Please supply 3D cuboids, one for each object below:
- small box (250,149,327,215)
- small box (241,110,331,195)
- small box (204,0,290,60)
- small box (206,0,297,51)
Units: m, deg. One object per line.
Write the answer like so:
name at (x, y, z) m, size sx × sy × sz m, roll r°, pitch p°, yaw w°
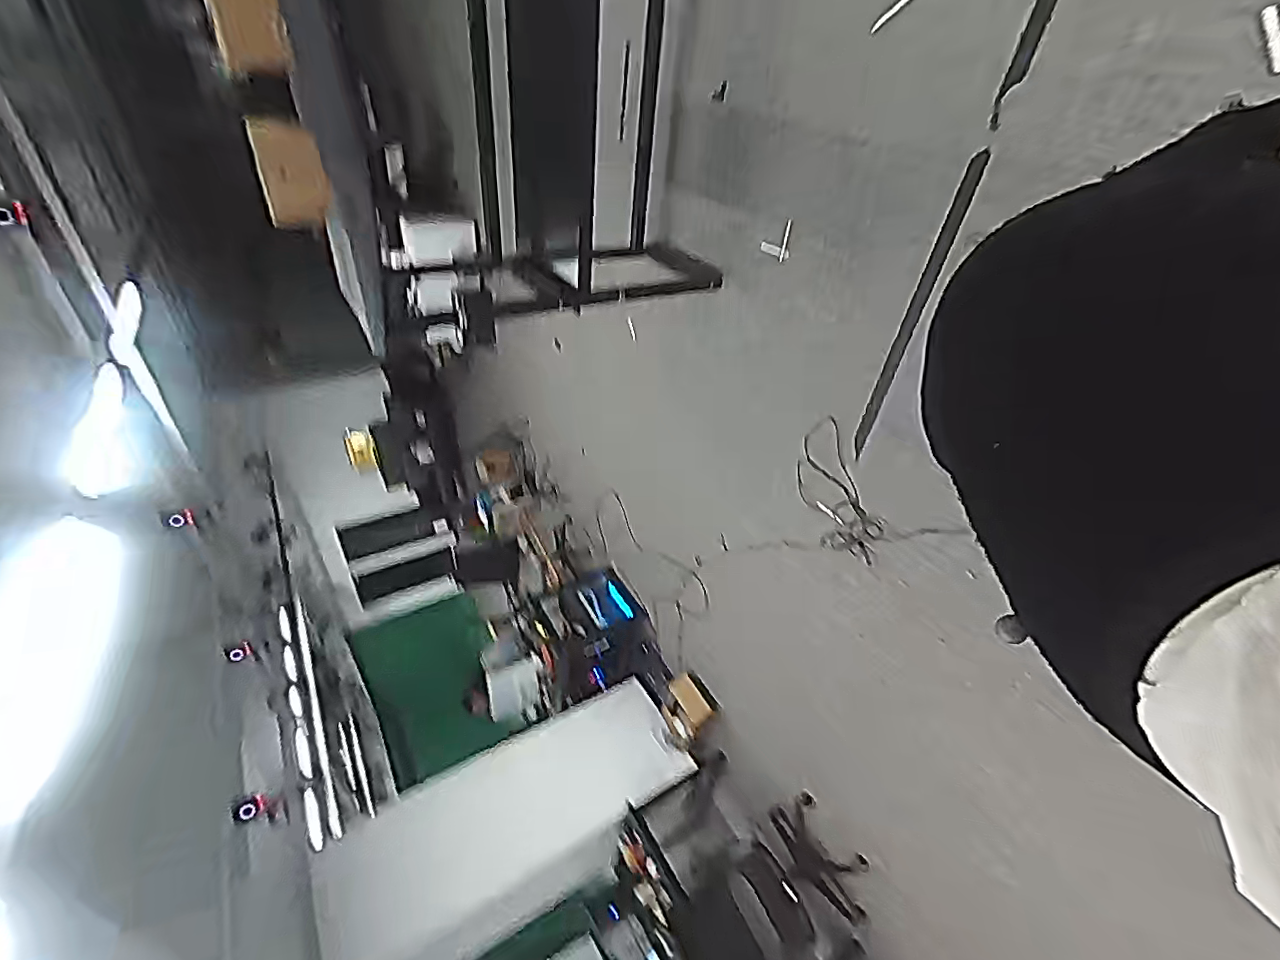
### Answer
small box at (-1.130, -0.968, 1.748) m, size 0.179 × 0.176 × 0.168 m, roll 44°, pitch 141°, yaw 42°
small box at (-0.984, -0.917, 1.512) m, size 0.168 × 0.176 × 0.179 m, roll 48°, pitch 144°, yaw 38°
small box at (-1.100, -1.293, 1.504) m, size 0.168 × 0.176 × 0.179 m, roll 47°, pitch 143°, yaw 40°
small box at (-0.970, -1.177, 1.337) m, size 0.179 × 0.176 × 0.168 m, roll 49°, pitch 145°, yaw 39°
